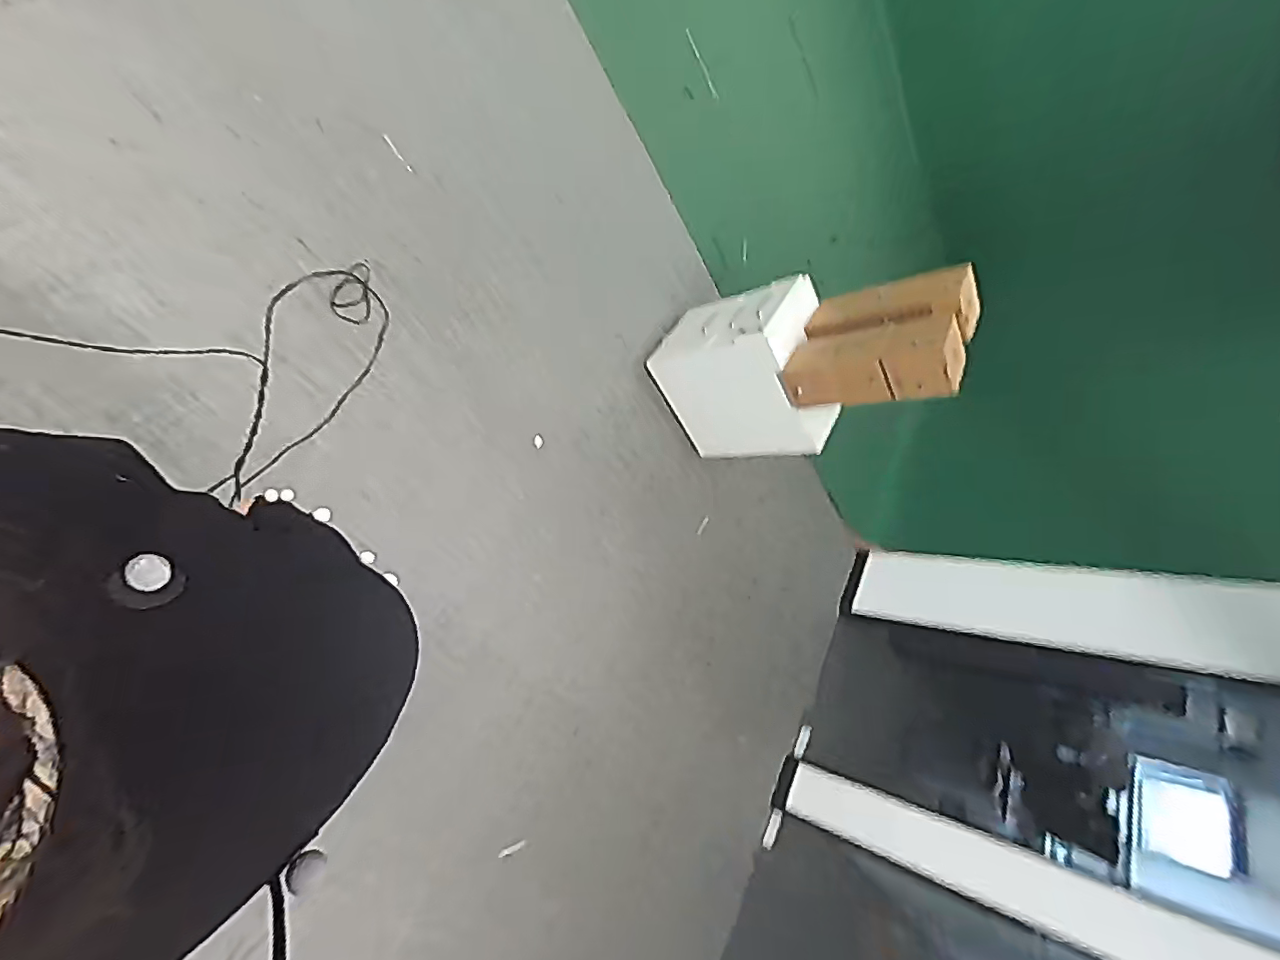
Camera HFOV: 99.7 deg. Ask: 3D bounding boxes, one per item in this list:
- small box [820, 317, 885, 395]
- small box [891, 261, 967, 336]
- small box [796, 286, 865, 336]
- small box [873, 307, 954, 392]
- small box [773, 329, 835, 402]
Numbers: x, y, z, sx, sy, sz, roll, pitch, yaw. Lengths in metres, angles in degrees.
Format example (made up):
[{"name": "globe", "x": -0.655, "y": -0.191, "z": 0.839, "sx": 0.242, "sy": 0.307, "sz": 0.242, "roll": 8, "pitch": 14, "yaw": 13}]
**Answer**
[{"name": "small box", "x": 0.700, "y": -0.390, "z": 1.732, "sx": 0.179, "sy": 0.176, "sz": 0.168, "roll": 52, "pitch": 56, "yaw": -32}, {"name": "small box", "x": 0.924, "y": -0.569, "z": 1.730, "sx": 0.179, "sy": 0.176, "sz": 0.168, "roll": -54, "pitch": 126, "yaw": -29}, {"name": "small box", "x": 0.690, "y": -0.572, "z": 1.958, "sx": 0.179, "sy": 0.176, "sz": 0.168, "roll": -54, "pitch": 125, "yaw": -30}, {"name": "small box", "x": 0.814, "y": -0.383, "z": 1.616, "sx": 0.168, "sy": 0.176, "sz": 0.179, "roll": 54, "pitch": 53, "yaw": -31}, {"name": "small box", "x": 0.576, "y": -0.386, "z": 1.842, "sx": 0.168, "sy": 0.176, "sz": 0.179, "roll": 55, "pitch": 54, "yaw": -31}]
